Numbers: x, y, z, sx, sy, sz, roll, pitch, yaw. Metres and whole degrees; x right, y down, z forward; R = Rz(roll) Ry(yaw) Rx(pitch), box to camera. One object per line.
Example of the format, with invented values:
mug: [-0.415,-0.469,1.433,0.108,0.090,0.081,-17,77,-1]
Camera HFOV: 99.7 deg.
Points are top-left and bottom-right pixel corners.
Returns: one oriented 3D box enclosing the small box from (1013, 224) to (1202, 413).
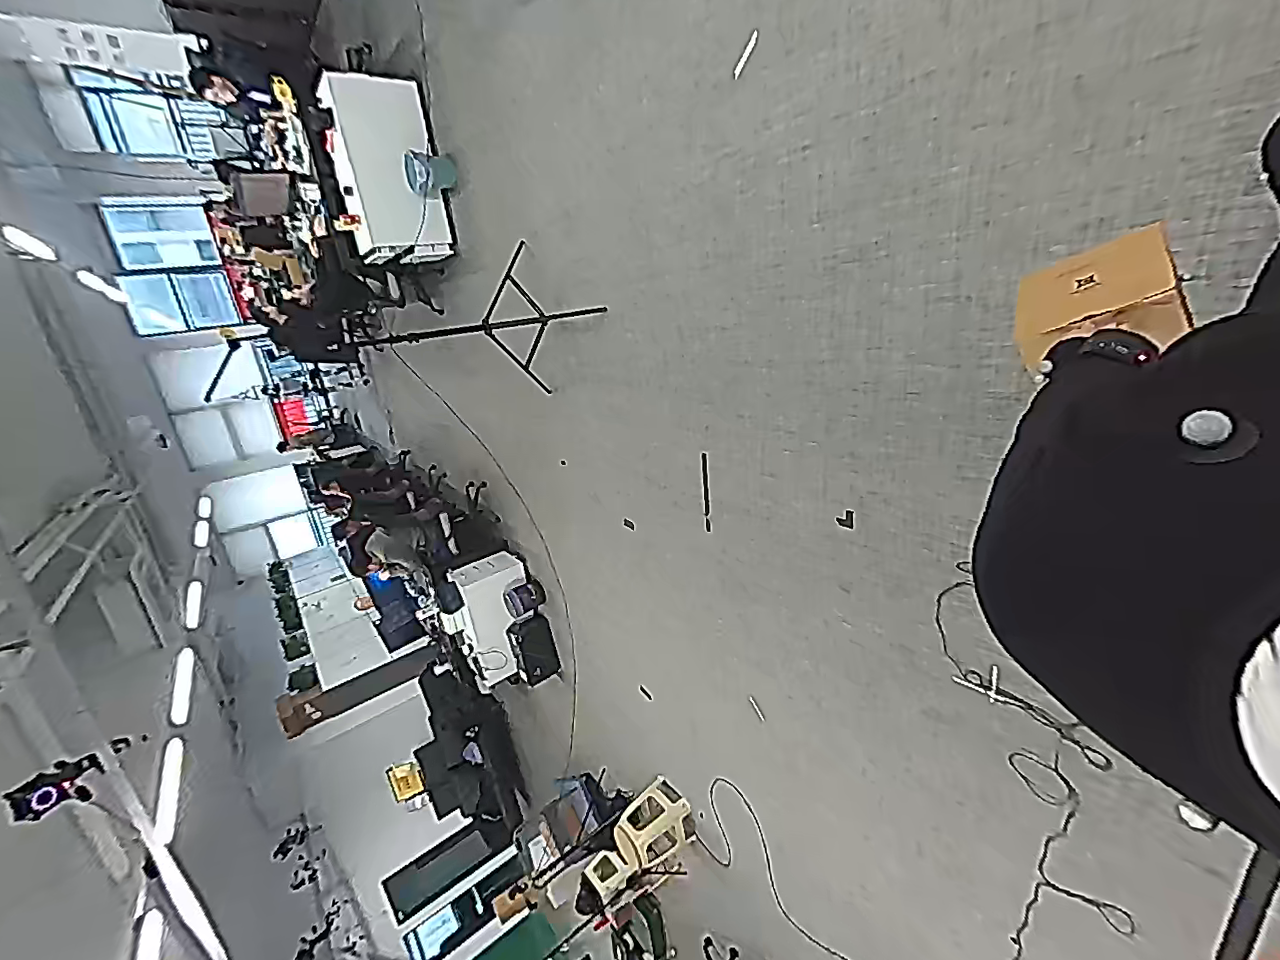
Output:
small box: [0.659,-0.214,0.769,0.168,0.179,0.176,-16,124,48]
